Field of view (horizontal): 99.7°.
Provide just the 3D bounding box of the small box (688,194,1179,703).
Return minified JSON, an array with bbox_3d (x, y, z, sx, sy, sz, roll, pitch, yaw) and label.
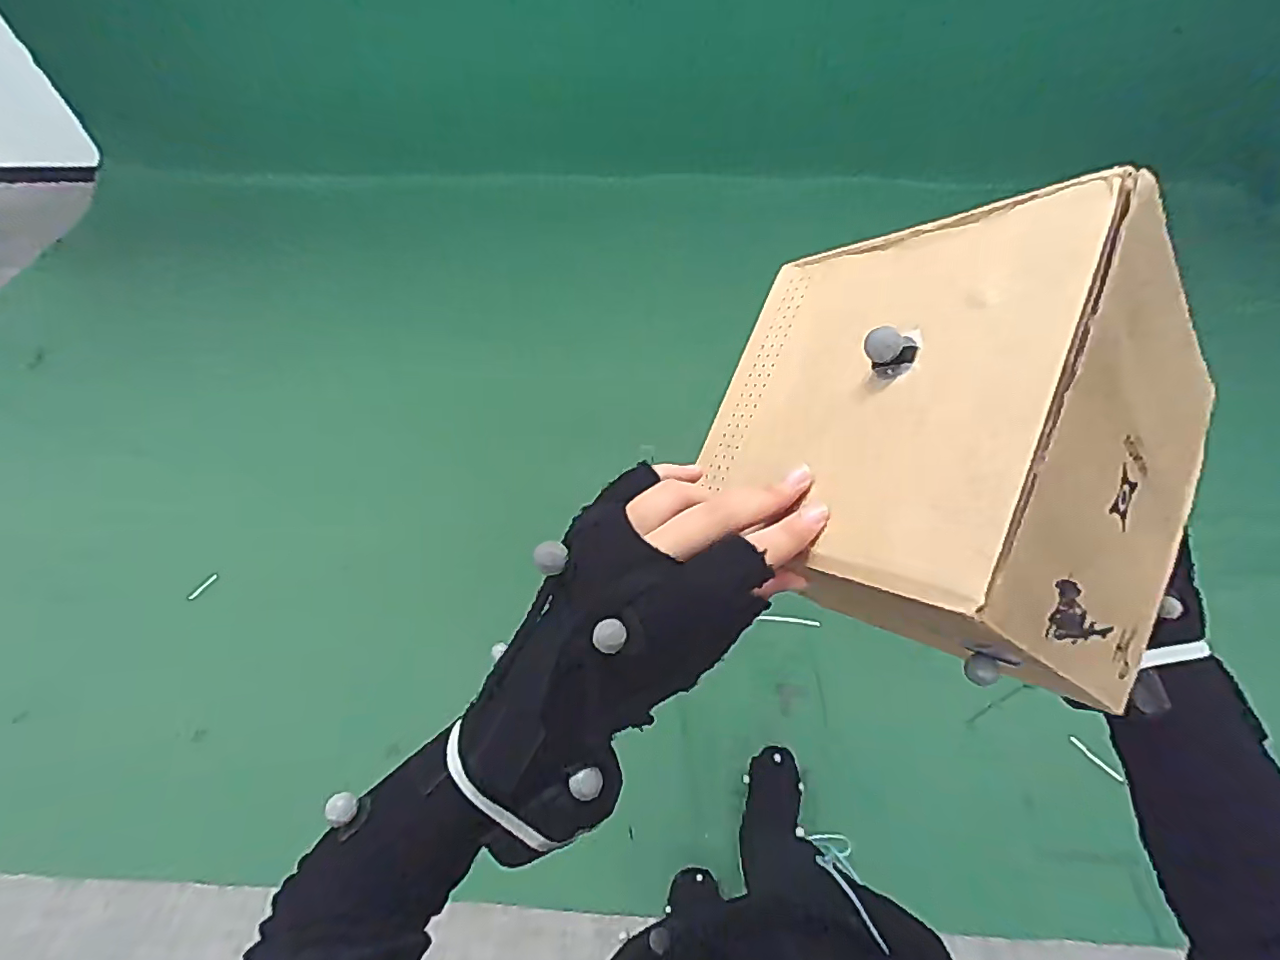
[{"bbox_3d":[0.154,-0.009,0.302,0.176,0.168,0.179,9,74,57],"label":"small box"}]
